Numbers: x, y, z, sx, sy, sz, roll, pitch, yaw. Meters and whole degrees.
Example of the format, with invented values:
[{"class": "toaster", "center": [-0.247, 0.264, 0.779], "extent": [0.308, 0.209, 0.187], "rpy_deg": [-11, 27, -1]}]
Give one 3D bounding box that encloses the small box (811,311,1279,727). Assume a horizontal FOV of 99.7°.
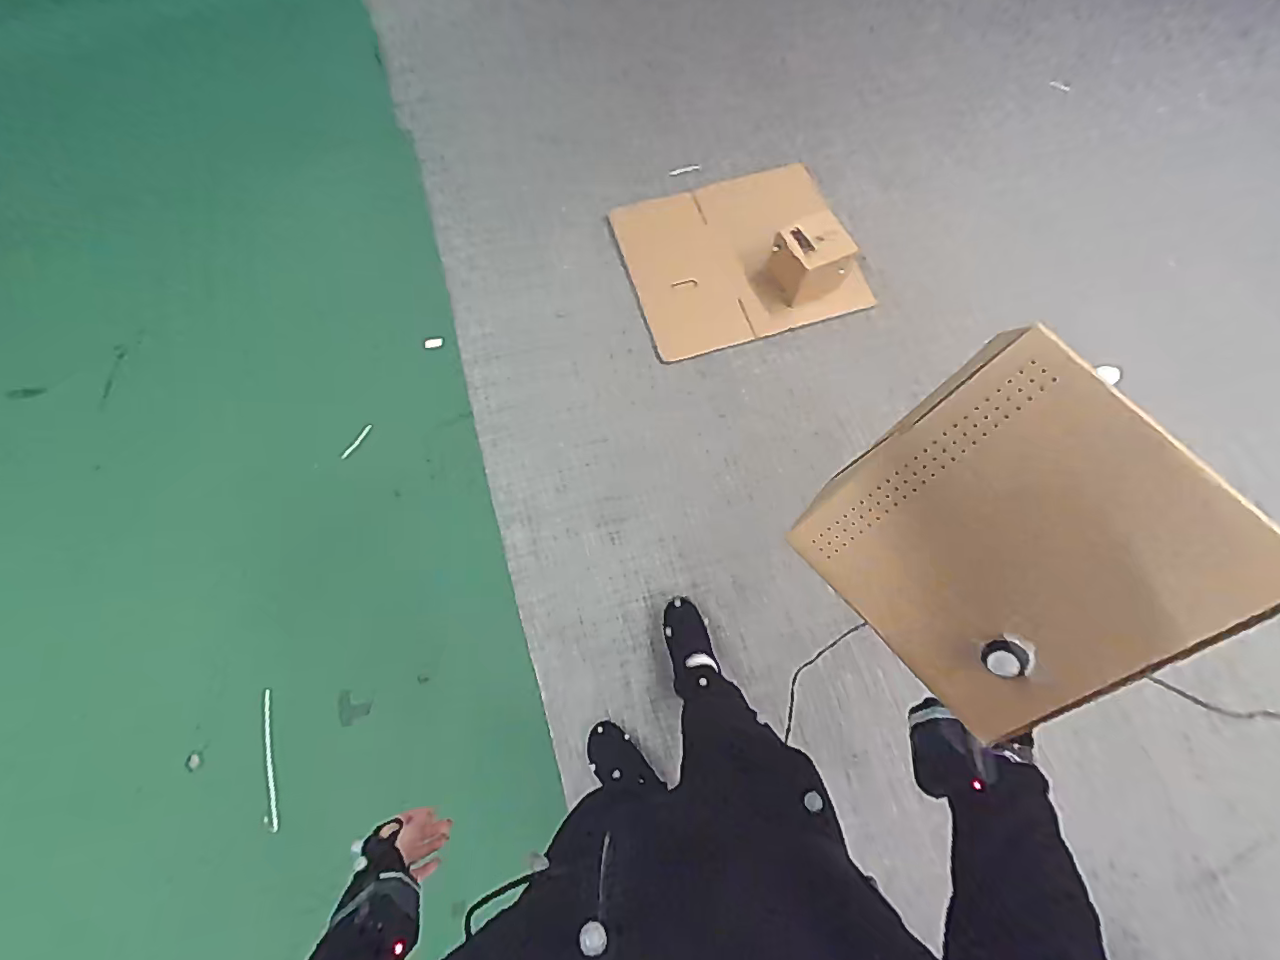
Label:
[{"class": "small box", "center": [0.236, 0.017, 0.361], "extent": [0.176, 0.168, 0.179], "rpy_deg": [48, 118, 10]}]
